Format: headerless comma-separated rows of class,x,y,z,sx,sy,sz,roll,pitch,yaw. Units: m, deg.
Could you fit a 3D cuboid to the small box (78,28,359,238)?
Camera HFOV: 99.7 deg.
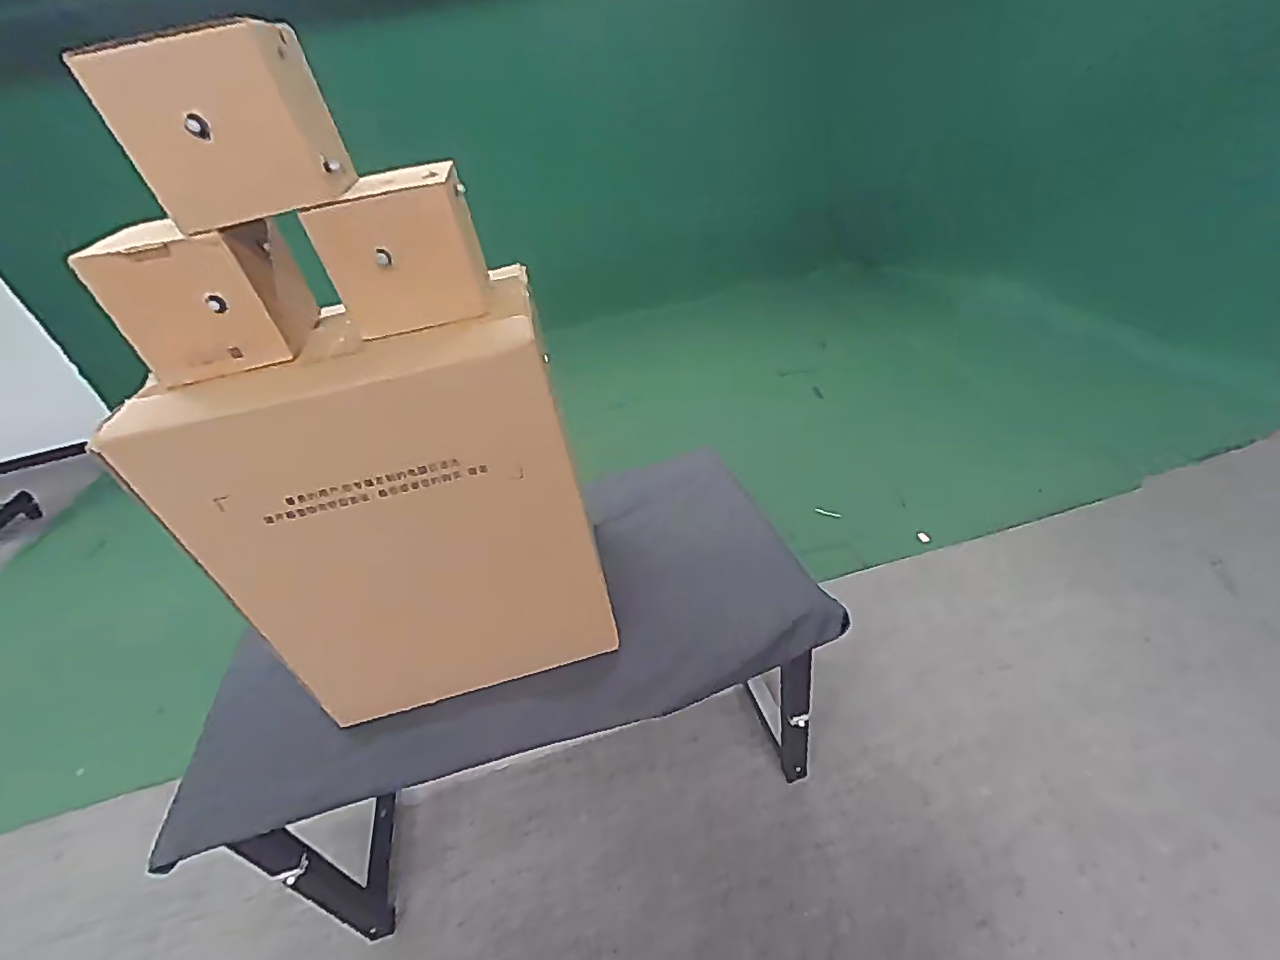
small box,-0.463,-0.406,0.637,0.179,0.176,0.168,-16,39,-4

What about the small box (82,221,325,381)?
small box,-0.560,-0.247,0.731,0.168,0.176,0.179,-14,38,-6

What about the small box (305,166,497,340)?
small box,-0.313,-0.313,0.751,0.179,0.176,0.168,-15,40,-3
